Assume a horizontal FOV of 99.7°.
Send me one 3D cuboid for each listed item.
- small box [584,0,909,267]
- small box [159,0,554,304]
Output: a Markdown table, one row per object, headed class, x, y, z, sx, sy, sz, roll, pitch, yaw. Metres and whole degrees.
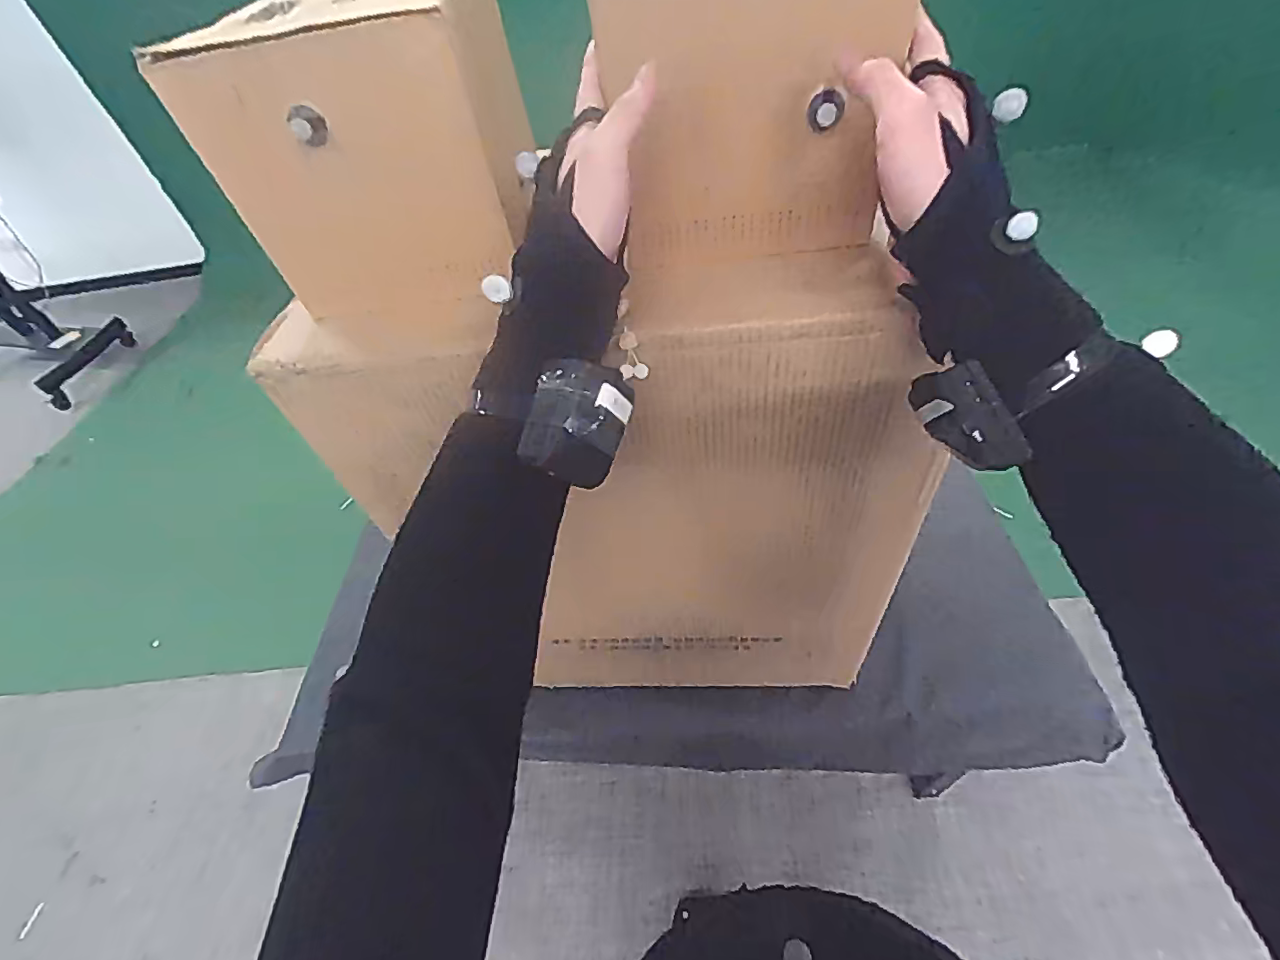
| class | x | y | z | sx | sy | sz | roll | pitch | yaw |
| --- | --- | --- | --- | --- | --- | --- | --- | --- | --- |
| small box | 0.069 | -0.277 | 0.392 | 0.179 | 0.176 | 0.168 | -3 | 51 | 8 |
| small box | -0.181 | -0.254 | 0.412 | 0.179 | 0.176 | 0.168 | -4 | 53 | 9 |
